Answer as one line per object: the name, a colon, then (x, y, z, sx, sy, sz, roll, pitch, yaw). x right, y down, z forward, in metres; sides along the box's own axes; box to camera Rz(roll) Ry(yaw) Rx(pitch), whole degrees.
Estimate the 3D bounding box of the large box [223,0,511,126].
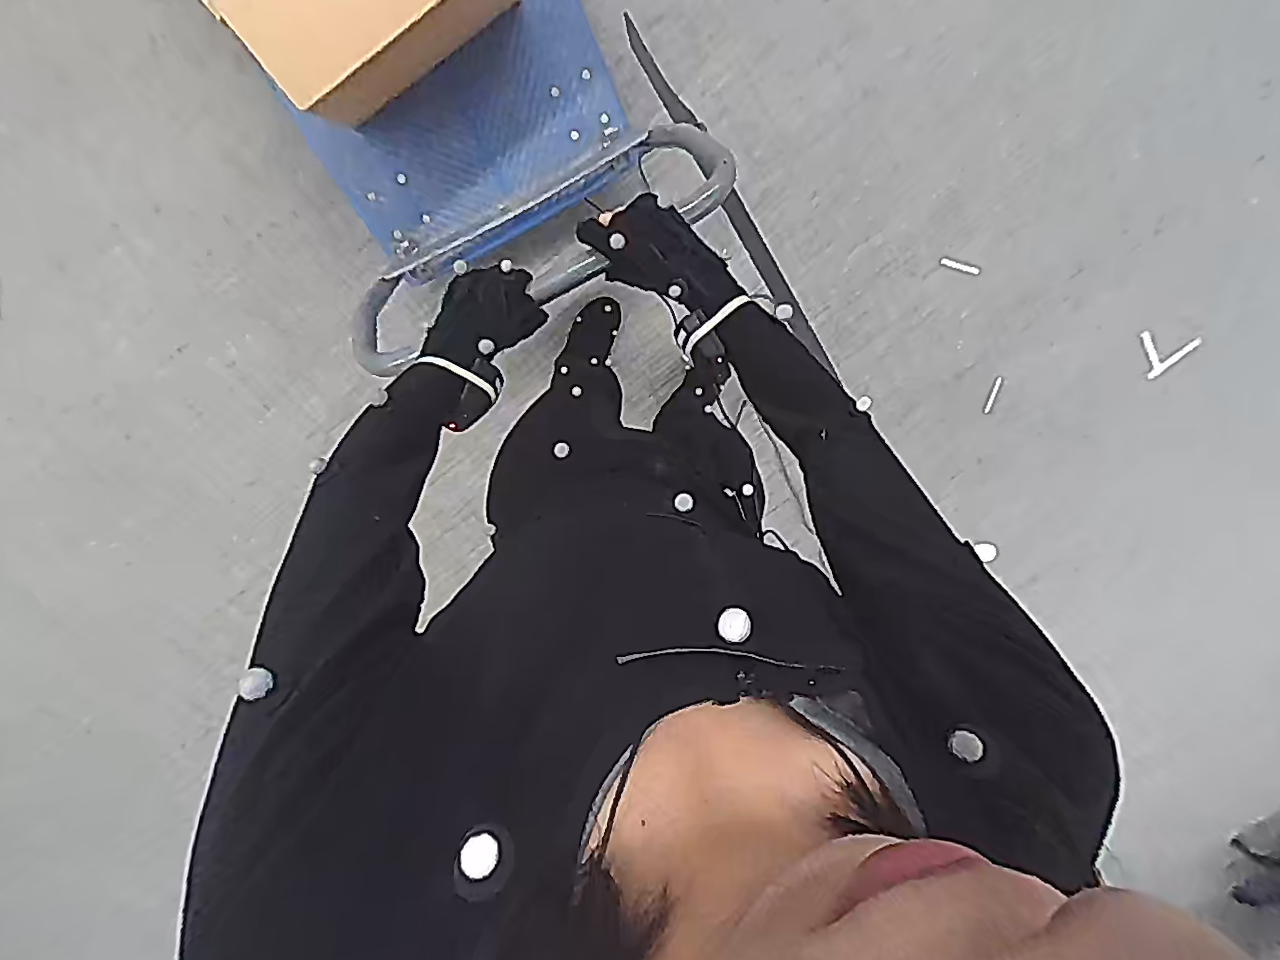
large box: (-0.430, -0.821, 0.812, 0.408, 0.320, 0.320, -34, 120, 5)
